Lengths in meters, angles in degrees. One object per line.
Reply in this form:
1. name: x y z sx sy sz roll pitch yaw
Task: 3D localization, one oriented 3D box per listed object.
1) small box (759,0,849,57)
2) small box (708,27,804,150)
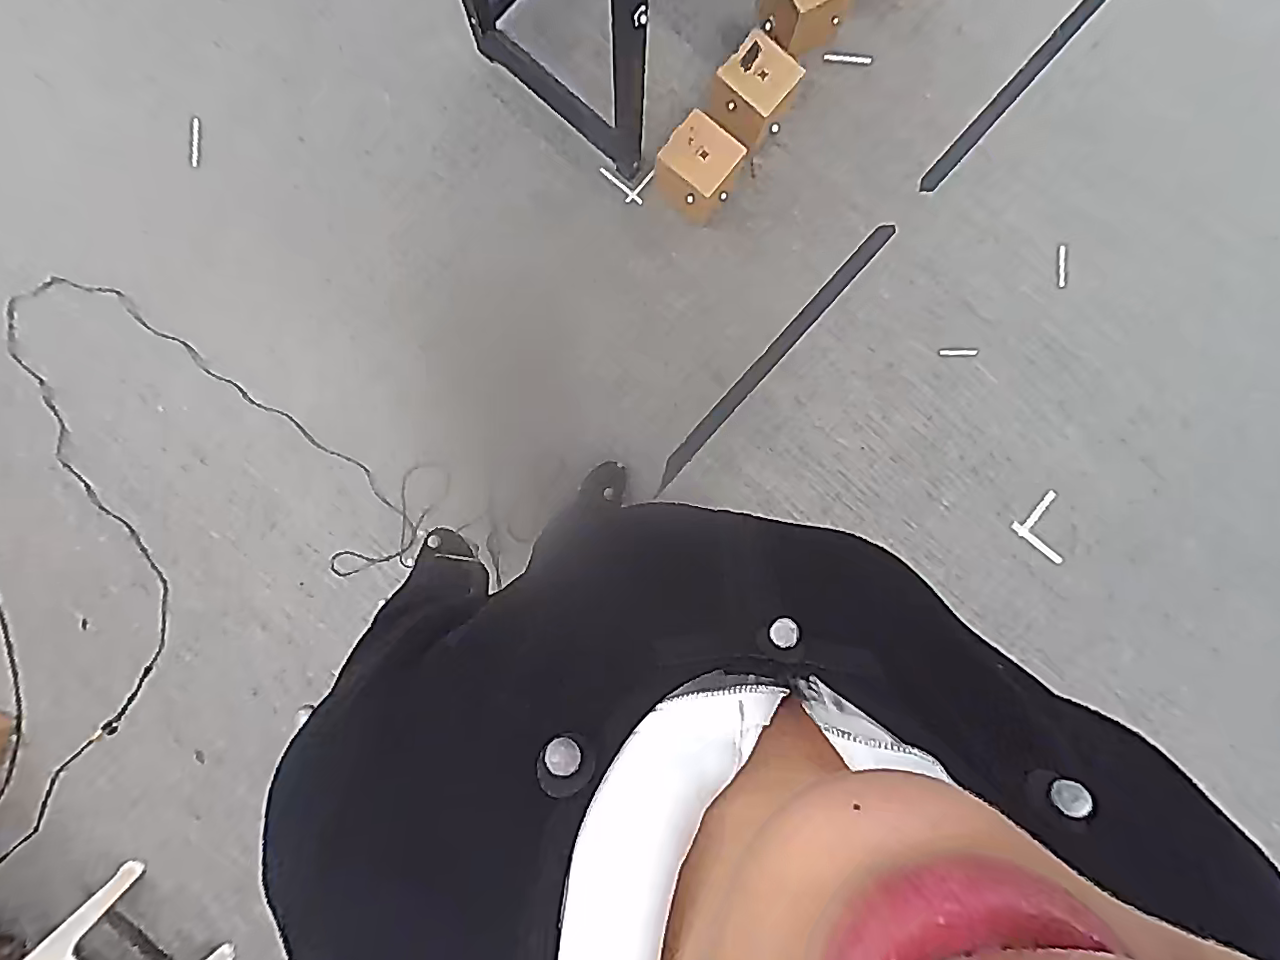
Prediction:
1. small box: 0.449 -1.312 1.474 0.179 0.176 0.168 -28 89 0
2. small box: 0.304 -1.047 1.464 0.179 0.176 0.168 41 89 -1
